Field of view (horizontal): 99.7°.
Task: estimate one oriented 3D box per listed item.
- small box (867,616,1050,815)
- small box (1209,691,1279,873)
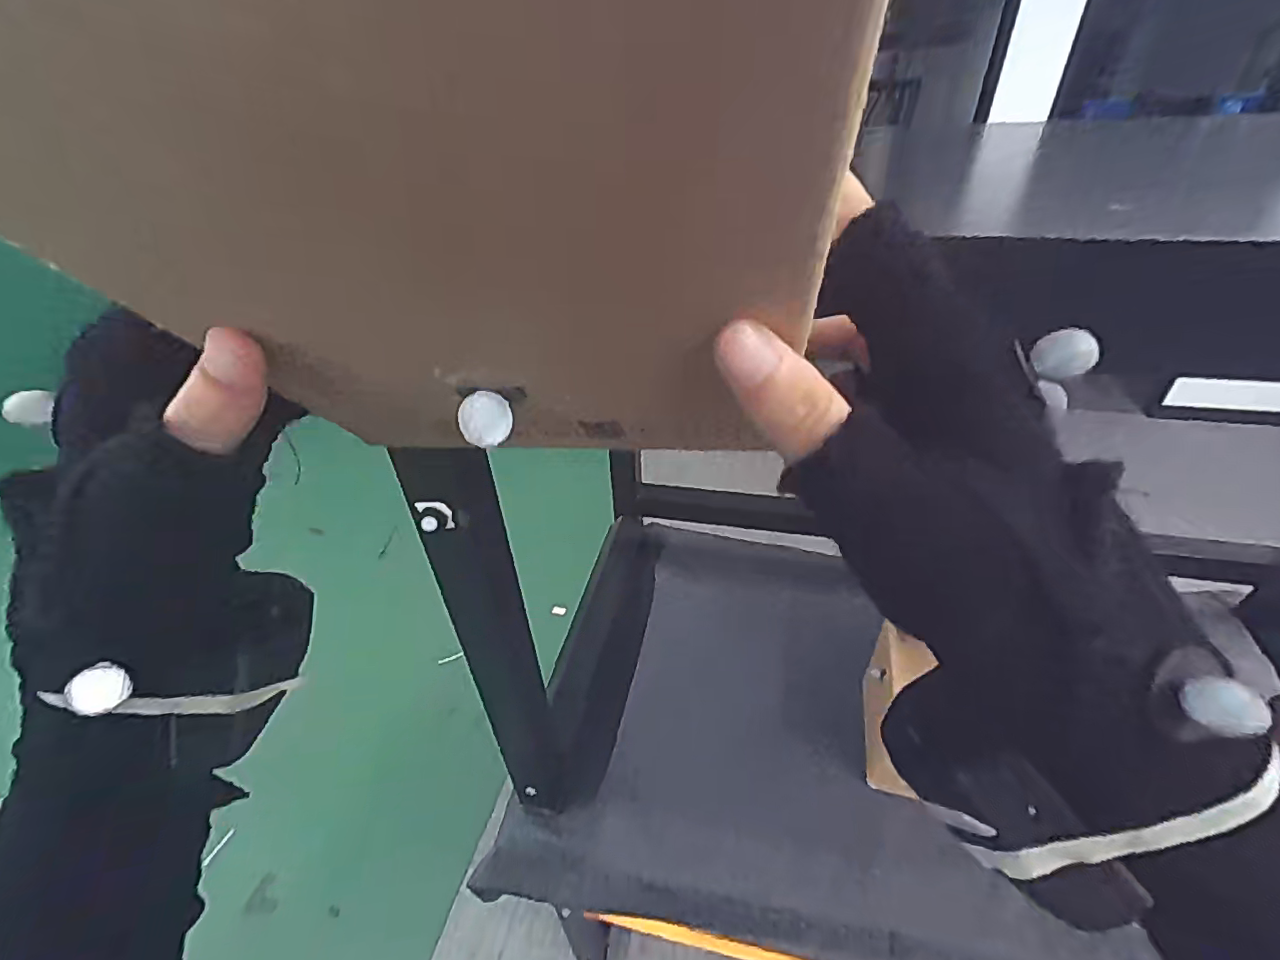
[{"bbox_3d":[0.415,0.321,0.742,0.168,0.176,0.179,8,37,15],"label":"small box"},{"bbox_3d":[0.844,0.379,0.623,0.168,0.176,0.179,5,36,10],"label":"small box"}]
